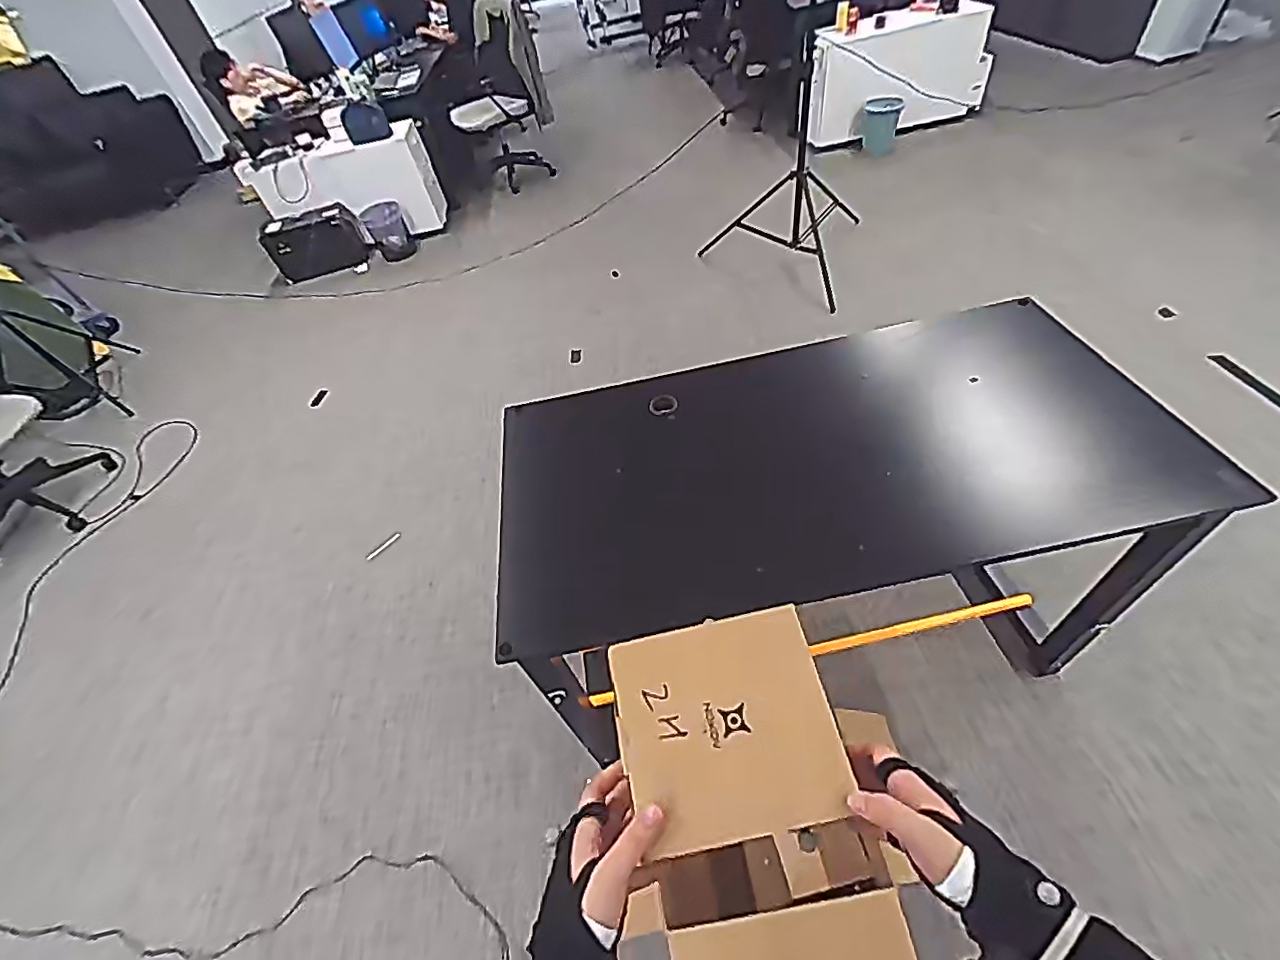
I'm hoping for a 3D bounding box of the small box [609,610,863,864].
[{"bbox_3d":[0.080,0.243,0.514,0.179,0.176,0.168,-14,58,1],"label":"small box"}]
